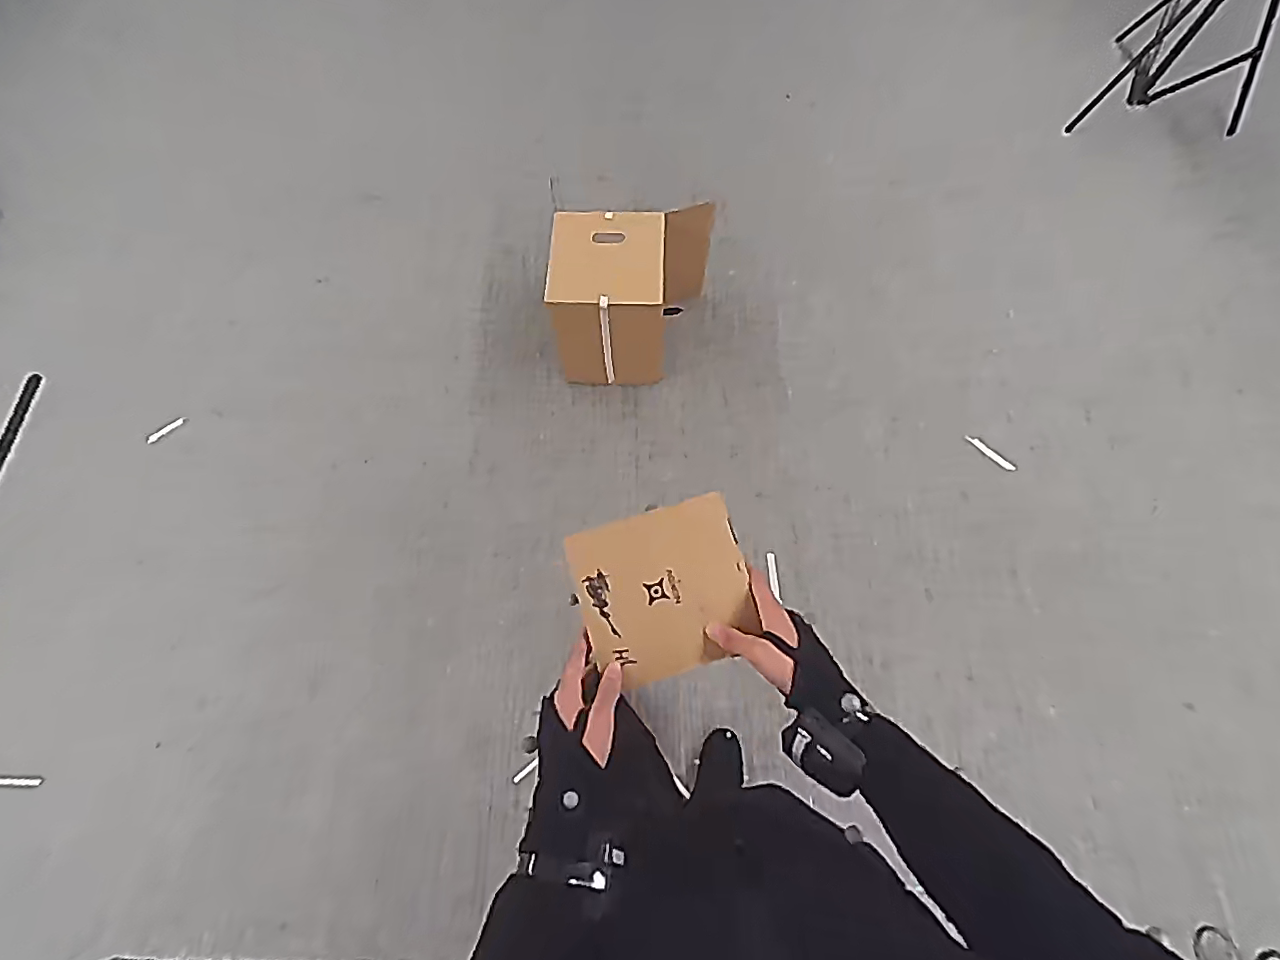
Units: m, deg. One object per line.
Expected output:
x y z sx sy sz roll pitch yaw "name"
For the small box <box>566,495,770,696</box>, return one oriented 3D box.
0.023 0.126 0.627 0.179 0.176 0.168 -16 81 -5 "small box"
